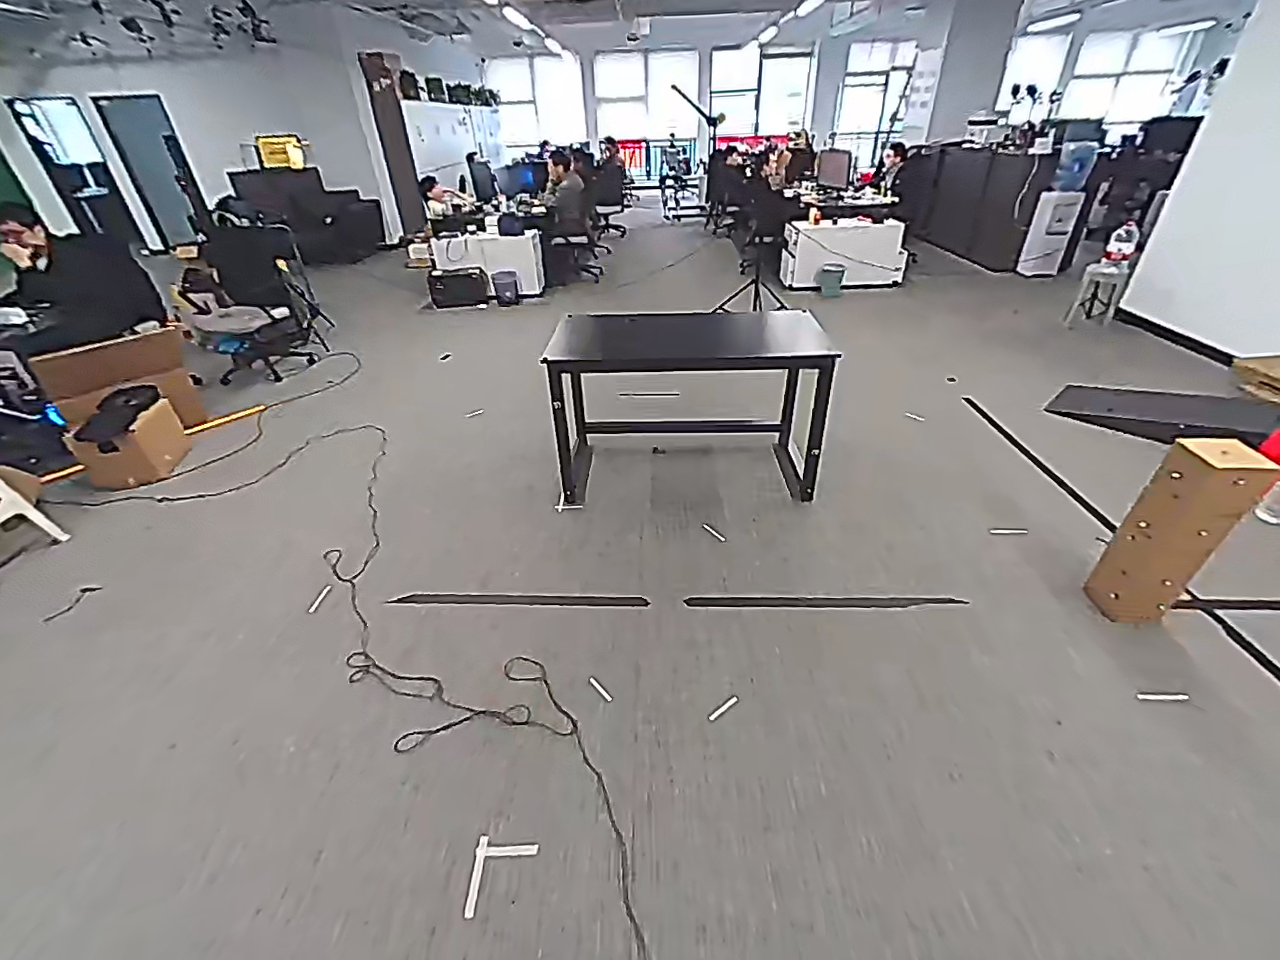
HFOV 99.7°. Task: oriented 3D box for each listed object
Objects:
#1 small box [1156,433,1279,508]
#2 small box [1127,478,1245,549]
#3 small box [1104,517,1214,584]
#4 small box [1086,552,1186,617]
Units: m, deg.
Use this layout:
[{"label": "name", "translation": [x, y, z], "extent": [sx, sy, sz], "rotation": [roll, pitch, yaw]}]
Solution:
[{"label": "small box", "translation": [1.734, -0.028, 1.641], "extent": [0.179, 0.176, 0.168], "rotation": [1, 35, 5]}, {"label": "small box", "translation": [1.740, 0.105, 1.737], "extent": [0.179, 0.176, 0.168], "rotation": [-3, 34, 1]}, {"label": "small box", "translation": [1.747, 0.239, 1.834], "extent": [0.179, 0.176, 0.168], "rotation": [-2, 34, 1]}, {"label": "small box", "translation": [1.757, 0.374, 1.926], "extent": [0.168, 0.176, 0.179], "rotation": [-1, 33, 2]}]
